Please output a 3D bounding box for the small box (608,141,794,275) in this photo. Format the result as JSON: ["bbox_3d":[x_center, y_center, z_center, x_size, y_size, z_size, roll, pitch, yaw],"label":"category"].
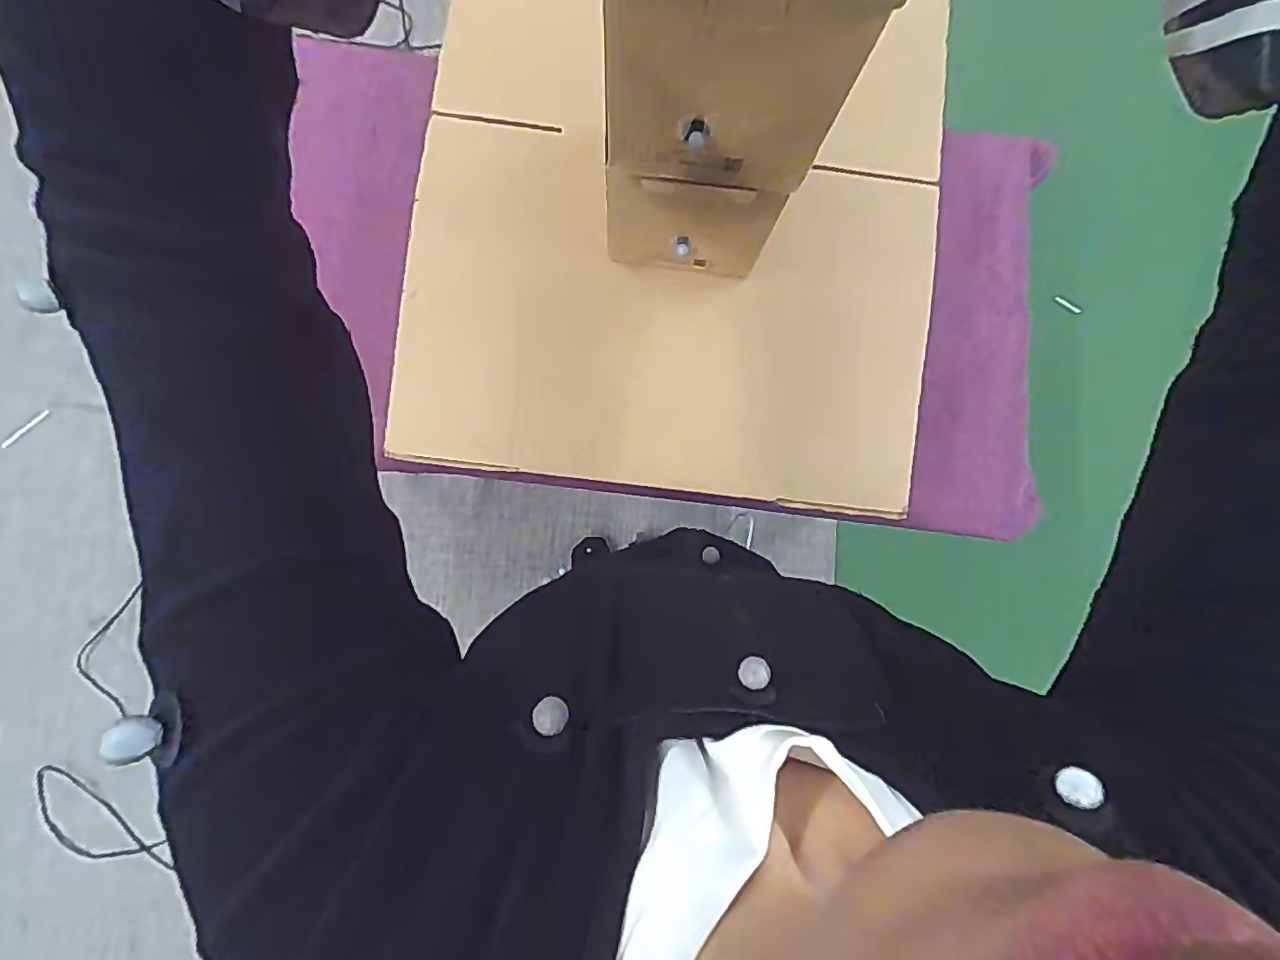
[{"bbox_3d":[0.059,-0.340,0.551,0.168,0.176,0.179,7,84,-1],"label":"small box"}]

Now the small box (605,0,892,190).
[{"bbox_3d":[0.064,-0.349,0.388,0.168,0.176,0.179,5,84,-2],"label":"small box"}]
